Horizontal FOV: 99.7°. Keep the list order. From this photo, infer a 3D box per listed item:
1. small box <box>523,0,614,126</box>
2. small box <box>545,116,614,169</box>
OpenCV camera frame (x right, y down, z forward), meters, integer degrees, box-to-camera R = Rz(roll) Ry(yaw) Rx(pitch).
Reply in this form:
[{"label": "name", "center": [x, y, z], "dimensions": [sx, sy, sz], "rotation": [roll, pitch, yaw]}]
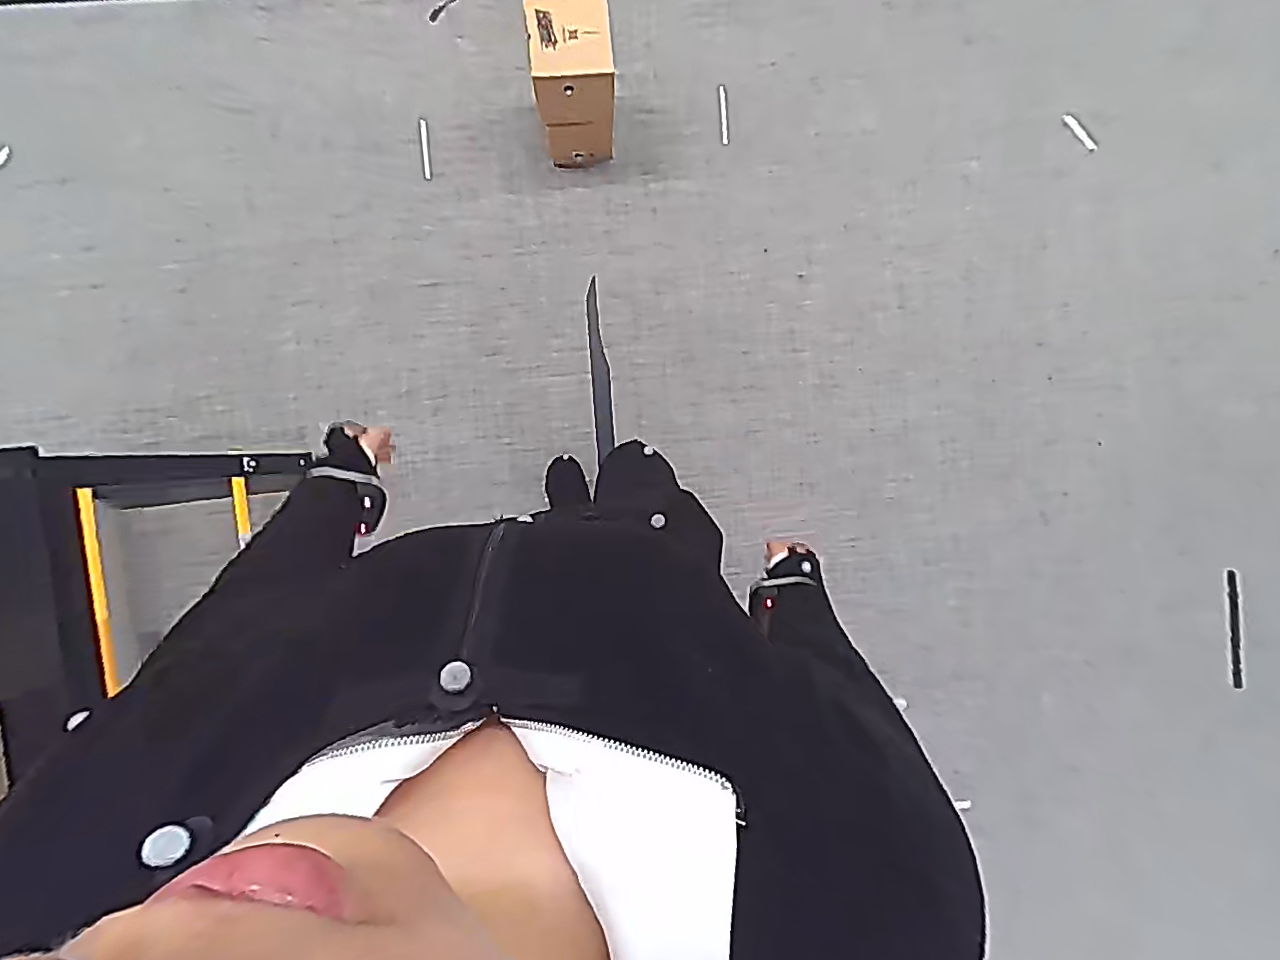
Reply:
[{"label": "small box", "center": [-0.152, -0.917, 1.197], "dimensions": [0.179, 0.176, 0.168], "rotation": [-6, 93, -3]}, {"label": "small box", "center": [-0.161, -0.924, 1.361], "dimensions": [0.168, 0.176, 0.179], "rotation": [-10, 95, -2]}]
